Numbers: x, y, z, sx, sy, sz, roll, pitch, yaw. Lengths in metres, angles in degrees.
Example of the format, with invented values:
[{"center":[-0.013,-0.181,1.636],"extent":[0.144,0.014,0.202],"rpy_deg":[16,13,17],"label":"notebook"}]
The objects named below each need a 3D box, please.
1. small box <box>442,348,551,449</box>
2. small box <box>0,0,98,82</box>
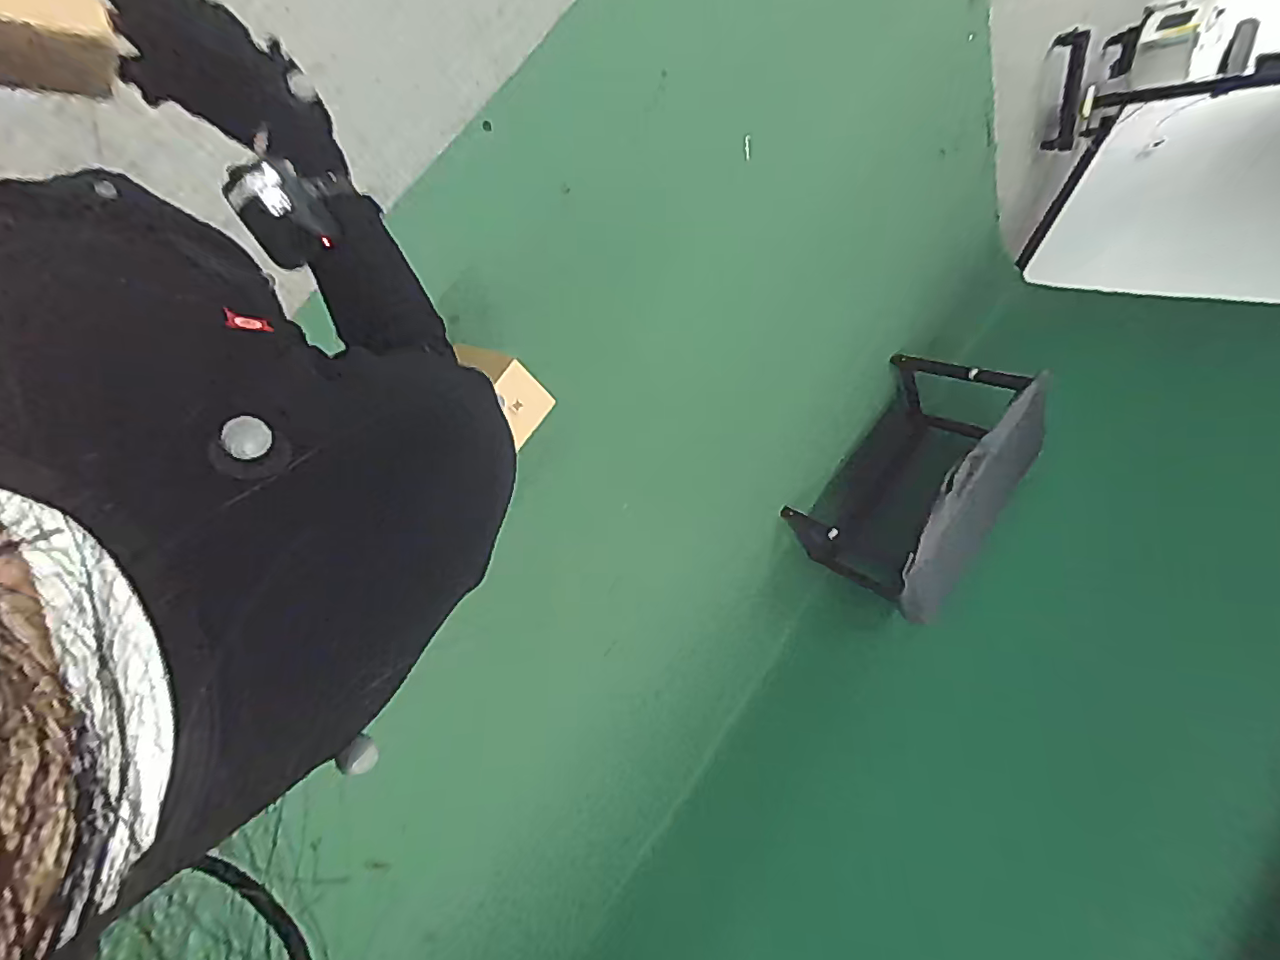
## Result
[{"center":[-0.367,-0.213,1.373],"extent":[0.179,0.176,0.168],"rpy_deg":[-53,135,-10],"label":"small box"},{"center":[-0.386,-0.307,0.245],"extent":[0.168,0.176,0.179],"rpy_deg":[-21,122,-38],"label":"small box"}]
